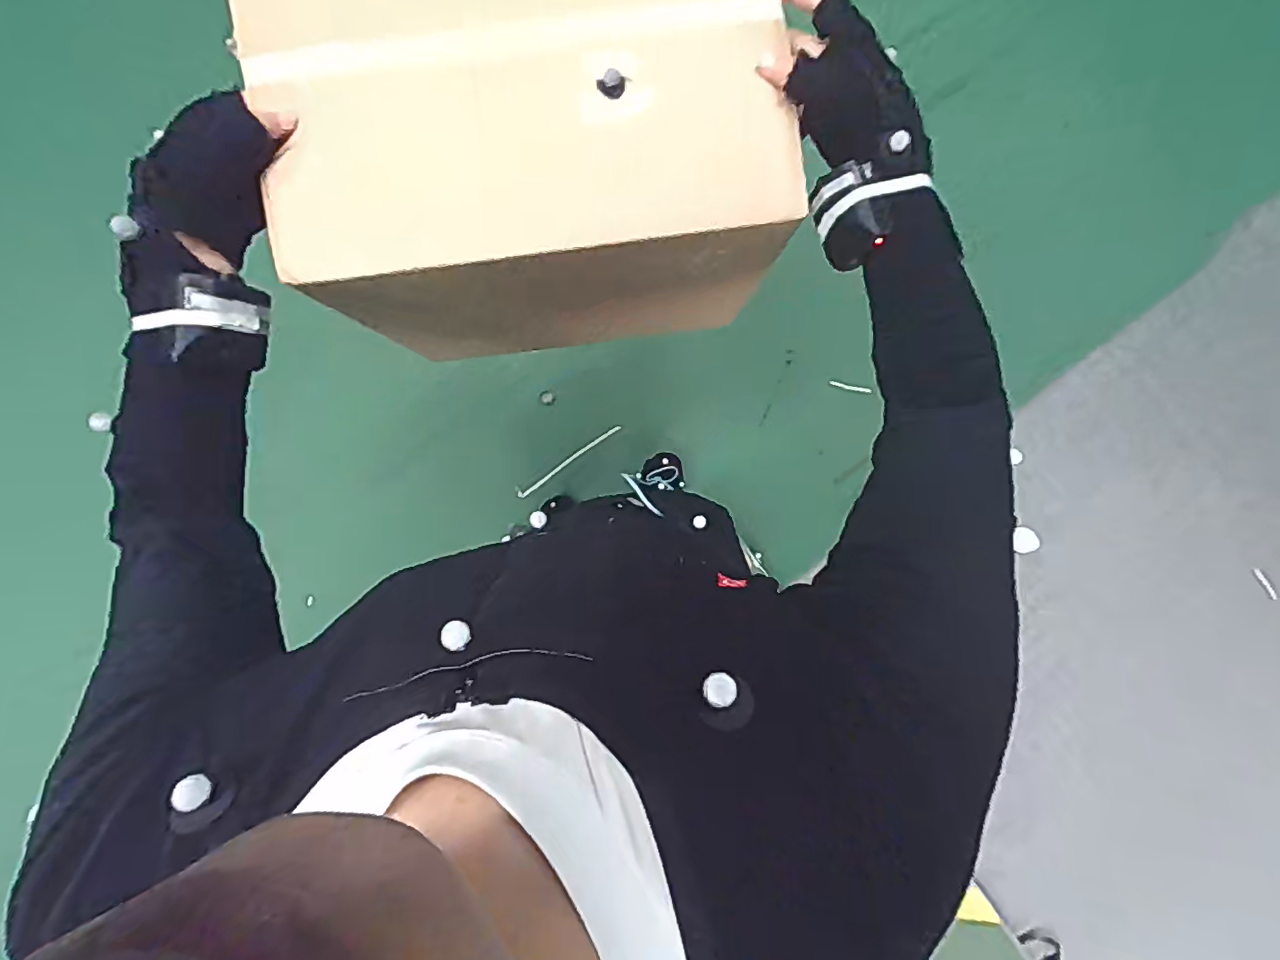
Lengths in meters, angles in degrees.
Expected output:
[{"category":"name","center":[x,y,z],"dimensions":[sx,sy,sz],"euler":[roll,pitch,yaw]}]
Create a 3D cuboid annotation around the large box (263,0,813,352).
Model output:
[{"category":"large box","center":[-0.088,-0.340,0.560],"dimensions":[0.408,0.320,0.320],"euler":[-8,92,-2]}]
